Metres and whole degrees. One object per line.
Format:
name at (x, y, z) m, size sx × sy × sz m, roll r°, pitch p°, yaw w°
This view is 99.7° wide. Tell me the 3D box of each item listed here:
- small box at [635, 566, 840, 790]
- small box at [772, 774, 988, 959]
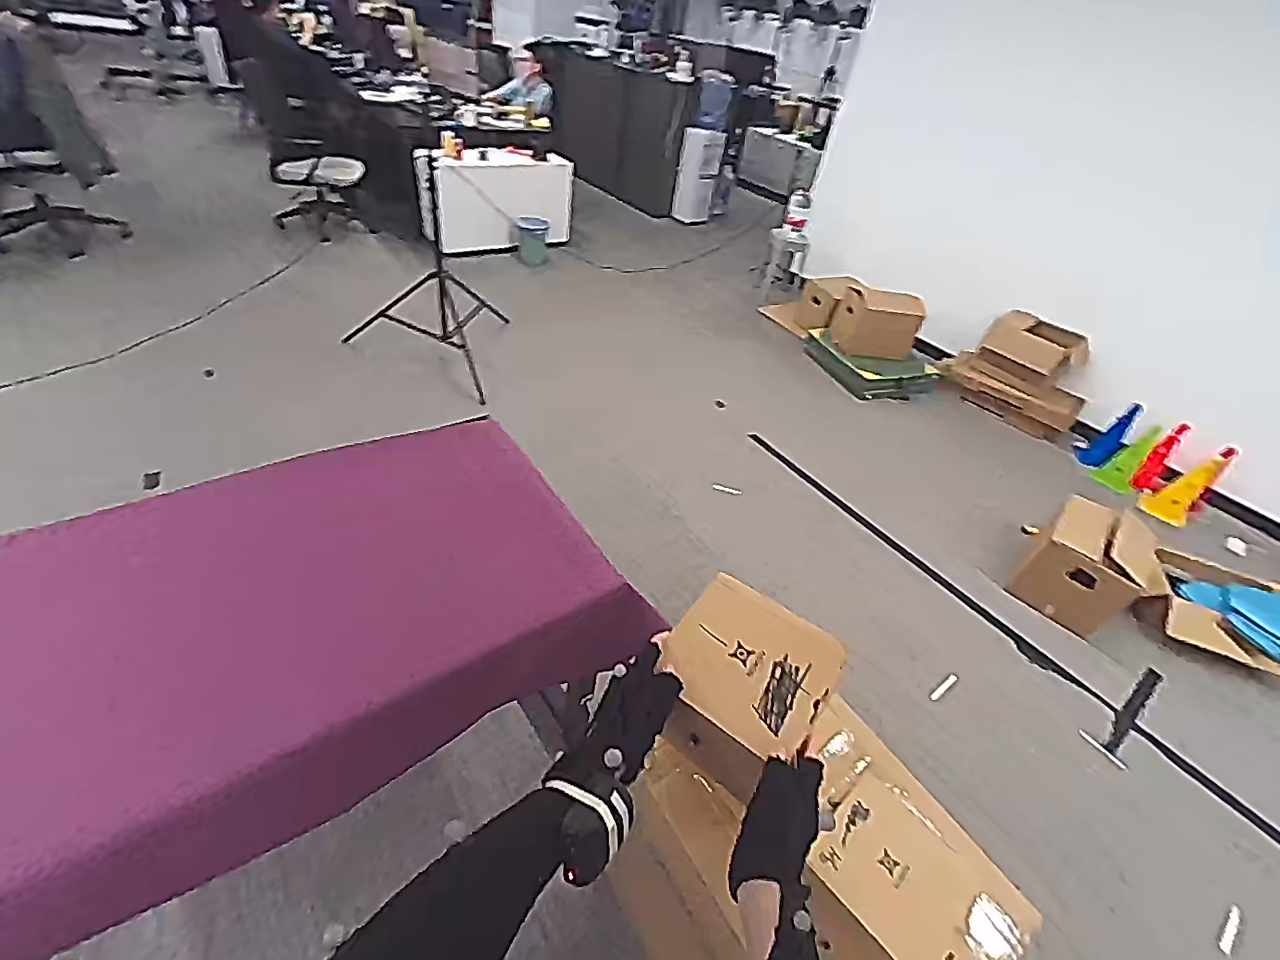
small box at (0.112, 0.246, 0.662) m, size 0.179 × 0.176 × 0.168 m, roll 28°, pitch 53°, yaw 25°
small box at (0.311, 0.548, 0.728) m, size 0.168 × 0.176 × 0.179 m, roll -26°, pitch 52°, yaw -34°
